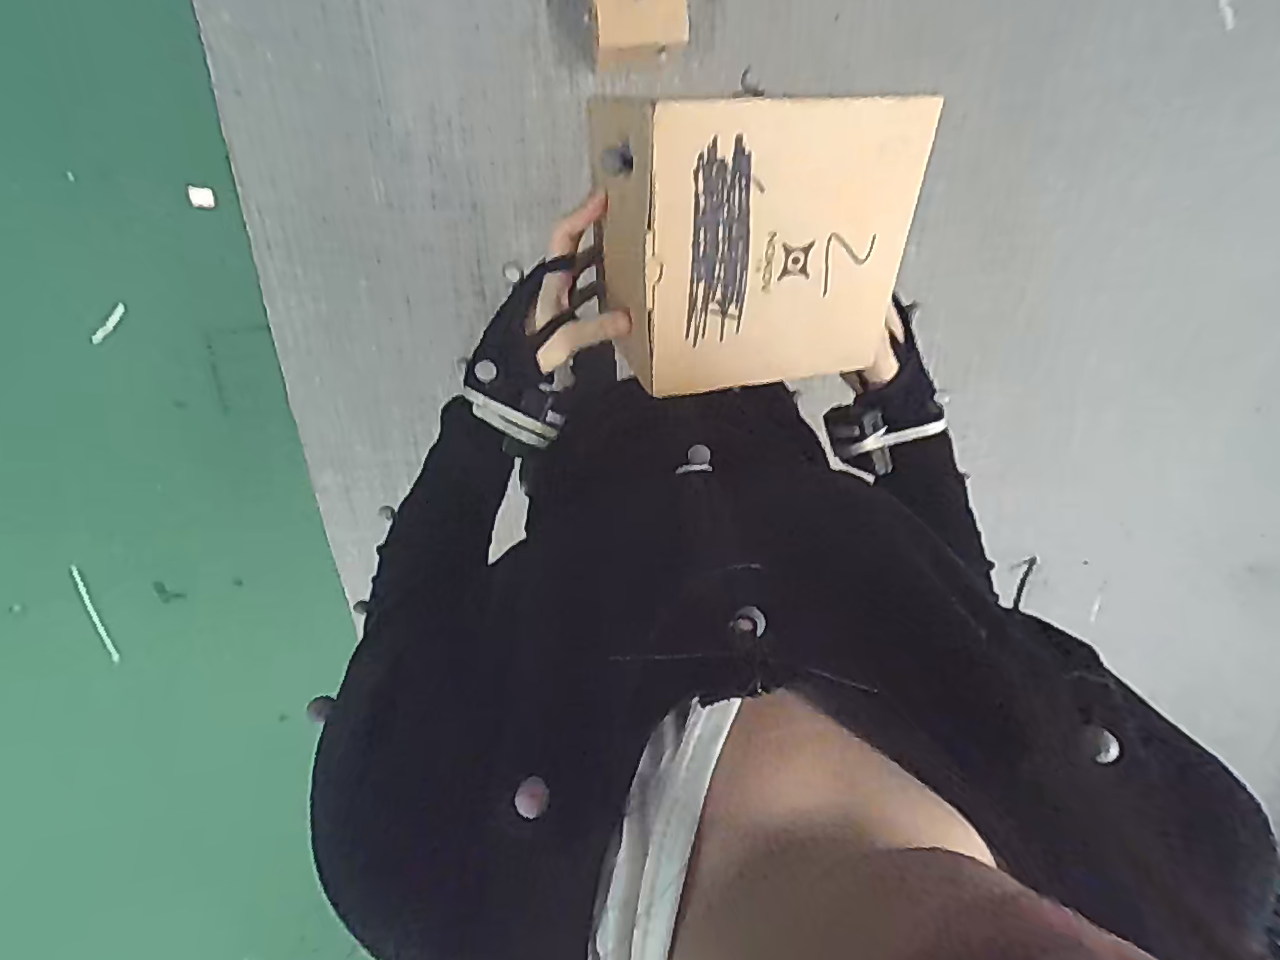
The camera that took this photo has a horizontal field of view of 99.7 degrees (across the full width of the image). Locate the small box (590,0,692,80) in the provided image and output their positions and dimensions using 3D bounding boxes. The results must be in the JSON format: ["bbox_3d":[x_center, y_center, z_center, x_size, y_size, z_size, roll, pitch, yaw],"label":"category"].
[{"bbox_3d":[-0.002,-0.924,1.079,0.179,0.176,0.168,-7,112,-4],"label":"small box"}]
